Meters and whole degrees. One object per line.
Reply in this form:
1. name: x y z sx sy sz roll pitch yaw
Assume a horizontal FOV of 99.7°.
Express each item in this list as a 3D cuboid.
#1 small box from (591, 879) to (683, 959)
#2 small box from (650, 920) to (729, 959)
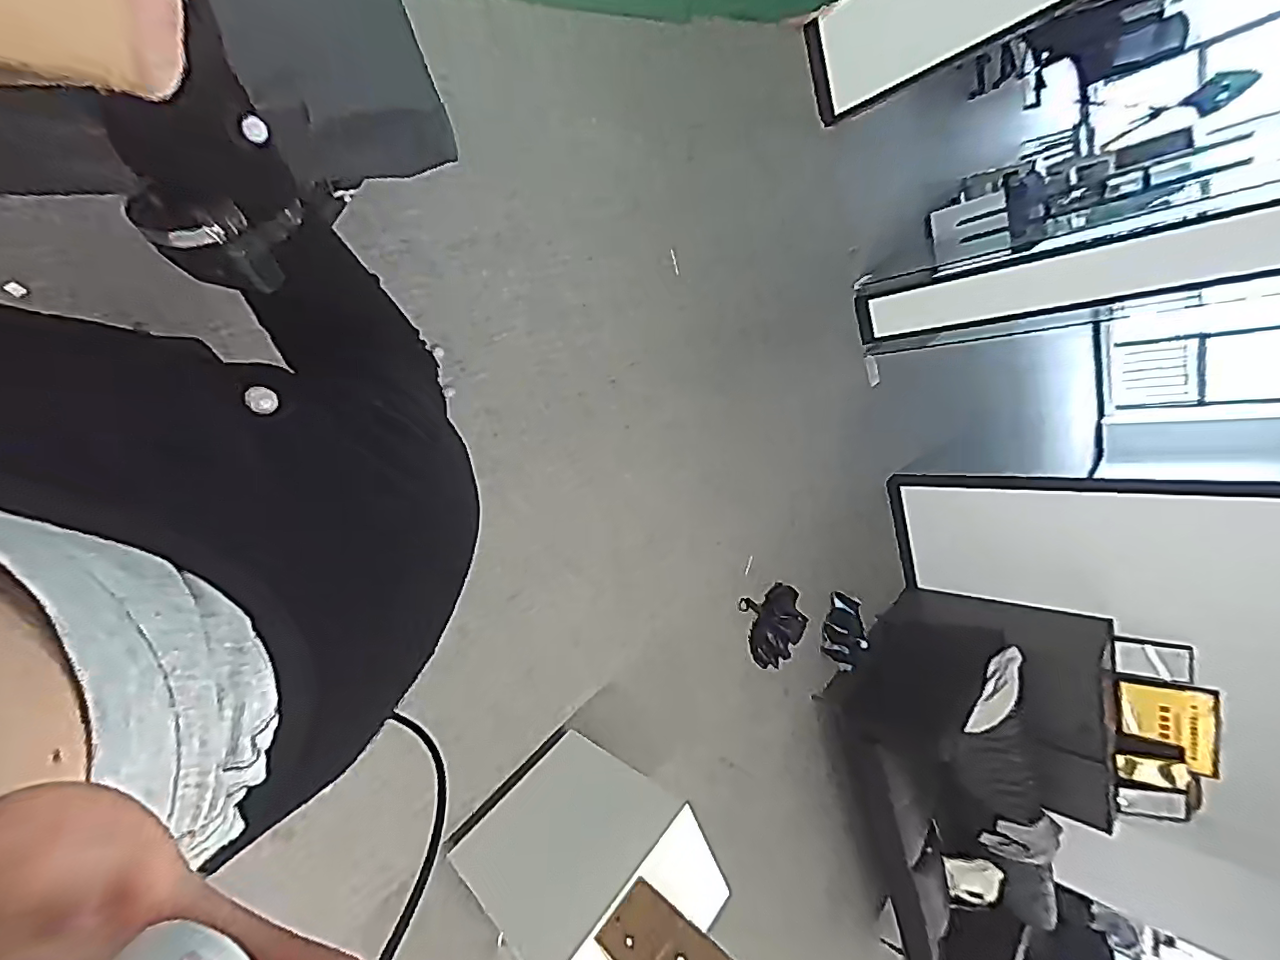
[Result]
1. small box: 0.011 1.100 1.280 0.168 0.176 0.179 -37 117 -34
2. small box: 0.122 1.109 1.159 0.168 0.176 0.179 -36 115 -35
